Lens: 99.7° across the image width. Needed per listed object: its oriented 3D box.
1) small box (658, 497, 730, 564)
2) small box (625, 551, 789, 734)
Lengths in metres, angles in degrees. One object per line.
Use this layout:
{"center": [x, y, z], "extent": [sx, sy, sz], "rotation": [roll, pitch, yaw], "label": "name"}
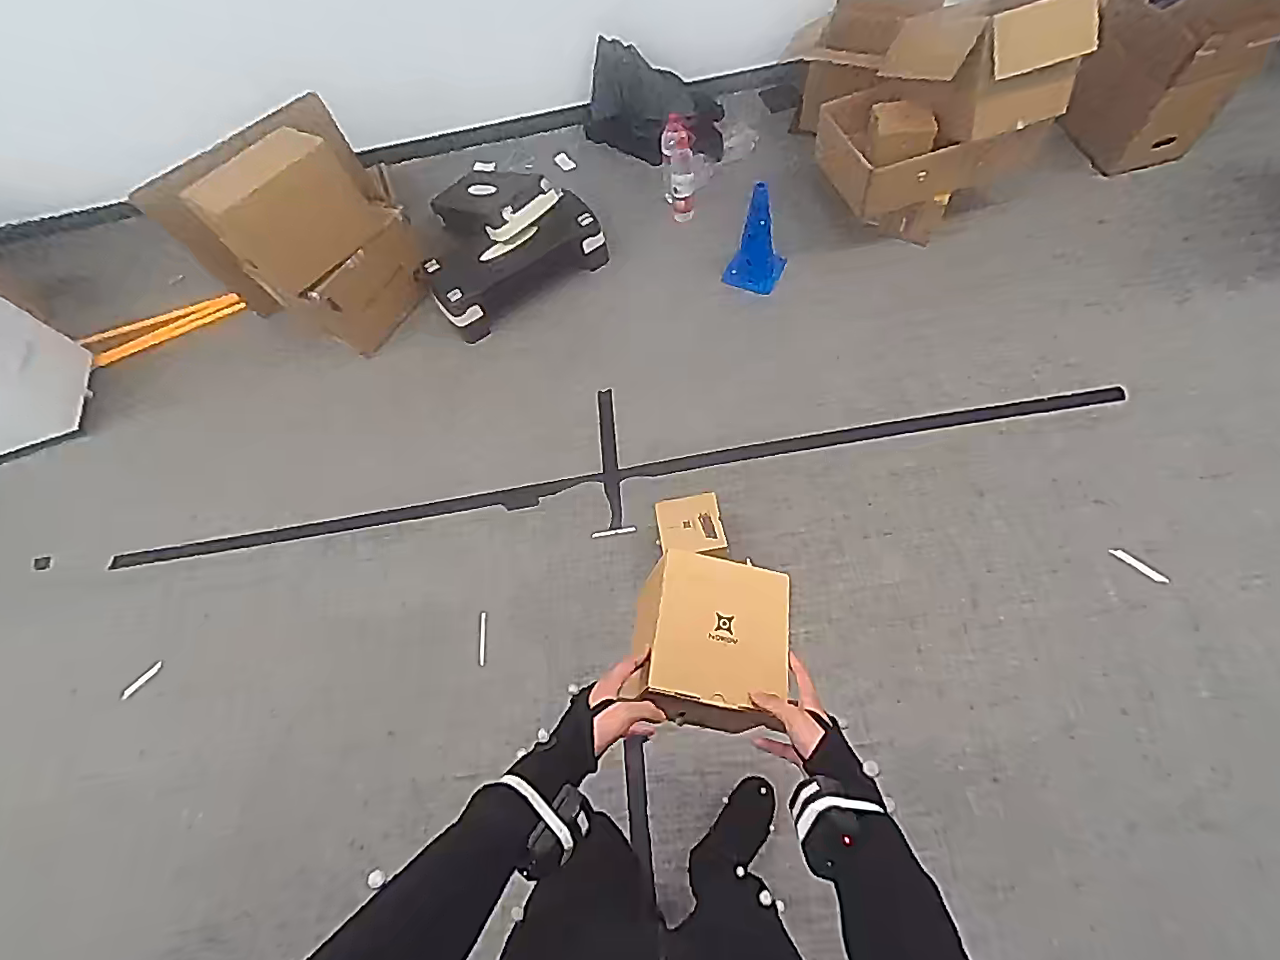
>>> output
{"center": [0.155, 0.165, 1.546], "extent": [0.179, 0.176, 0.168], "rotation": [-11, 64, 4], "label": "small box"}
{"center": [0.084, 0.220, 0.712], "extent": [0.168, 0.176, 0.179], "rotation": [14, 58, -5], "label": "small box"}
